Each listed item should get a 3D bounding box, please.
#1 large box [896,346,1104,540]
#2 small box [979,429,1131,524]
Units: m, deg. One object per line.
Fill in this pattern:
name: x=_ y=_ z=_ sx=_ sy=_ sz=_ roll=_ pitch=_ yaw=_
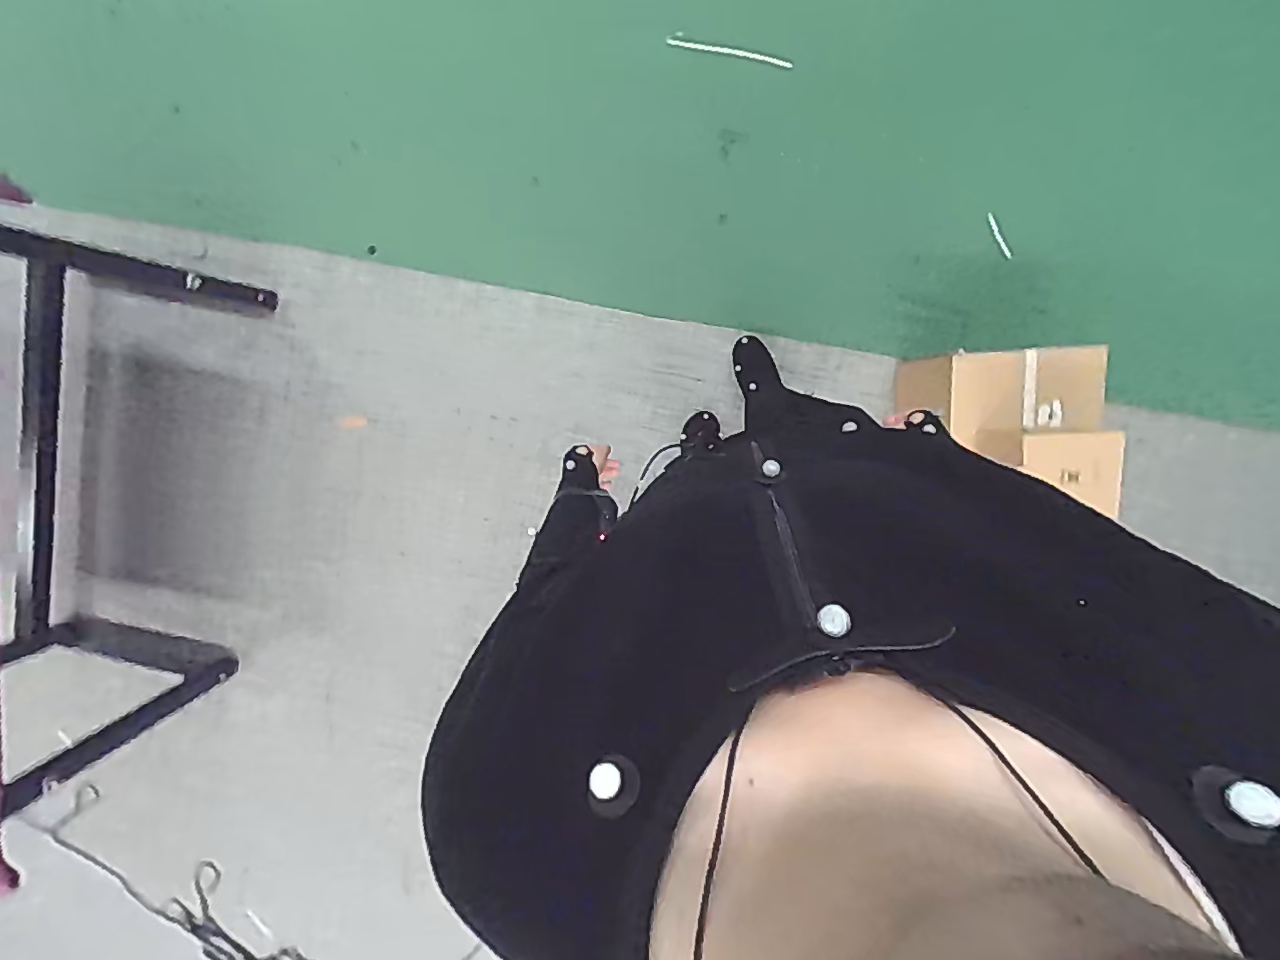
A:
large box: x=0.825 y=-0.089 z=1.293 sx=0.320 sy=0.320 sz=0.408 roll=-2 pitch=97 yaw=3
small box: x=0.796 y=-0.012 z=1.057 sx=0.179 sy=0.176 sz=0.168 roll=-1 pitch=99 yaw=5
